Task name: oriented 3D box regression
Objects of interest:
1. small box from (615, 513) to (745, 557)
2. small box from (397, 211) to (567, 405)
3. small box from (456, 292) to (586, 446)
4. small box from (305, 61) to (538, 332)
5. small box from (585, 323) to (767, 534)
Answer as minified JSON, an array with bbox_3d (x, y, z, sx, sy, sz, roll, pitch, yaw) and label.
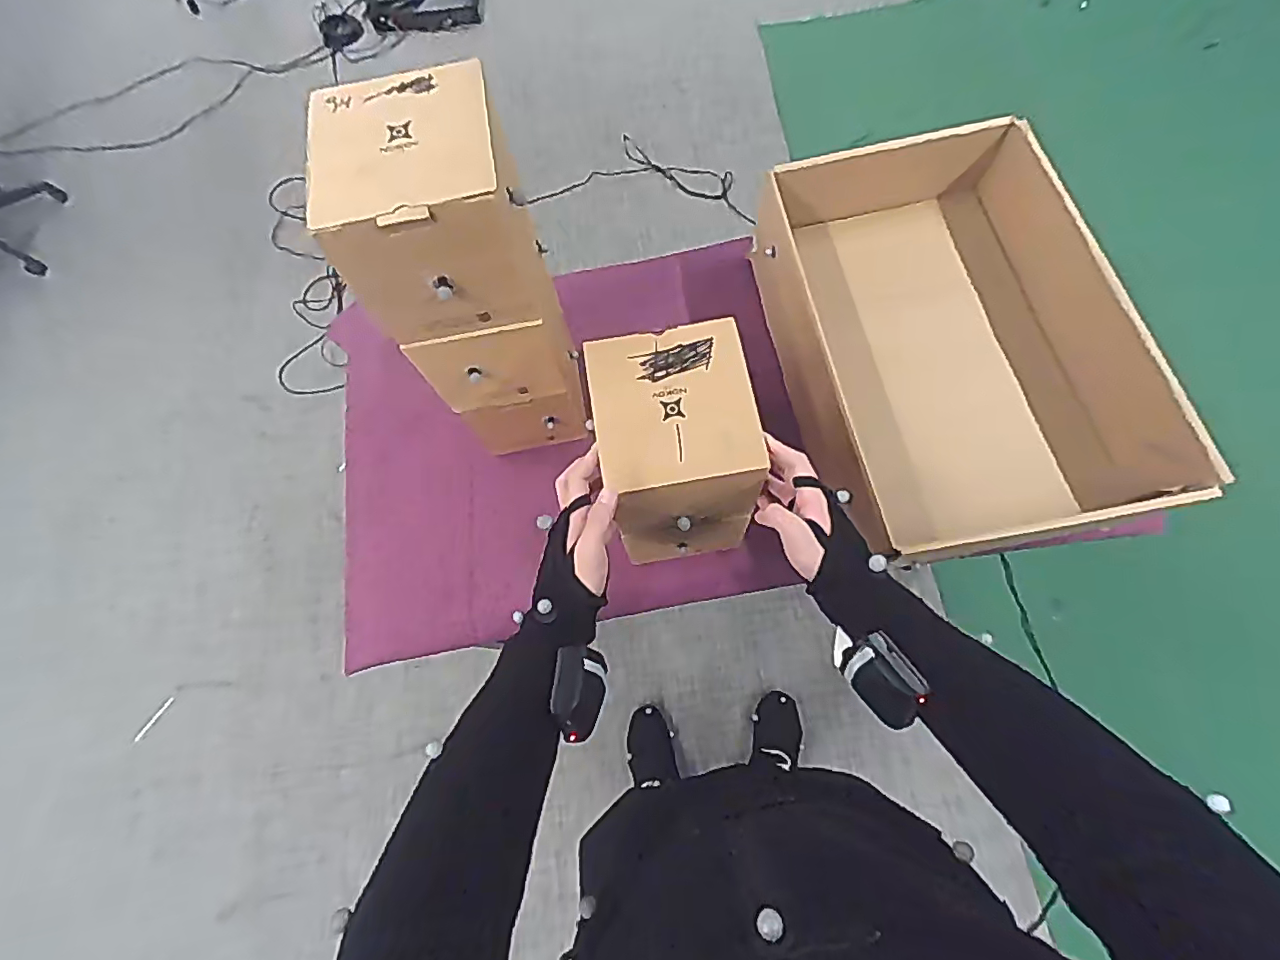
[{"bbox_3d":[0.048,0.008,0.779,0.168,0.176,0.179,-9,70,1],"label":"small box"},{"bbox_3d":[-0.198,-0.213,0.707,0.168,0.176,0.179,-10,70,0],"label":"small box"},{"bbox_3d":[-0.186,-0.164,0.861,0.168,0.176,0.179,-10,70,0],"label":"small box"},{"bbox_3d":[-0.209,-0.272,0.554,0.168,0.176,0.179,-11,71,-1],"label":"small box"},{"bbox_3d":[0.037,-0.050,0.626,0.168,0.176,0.179,-10,70,2],"label":"small box"}]
